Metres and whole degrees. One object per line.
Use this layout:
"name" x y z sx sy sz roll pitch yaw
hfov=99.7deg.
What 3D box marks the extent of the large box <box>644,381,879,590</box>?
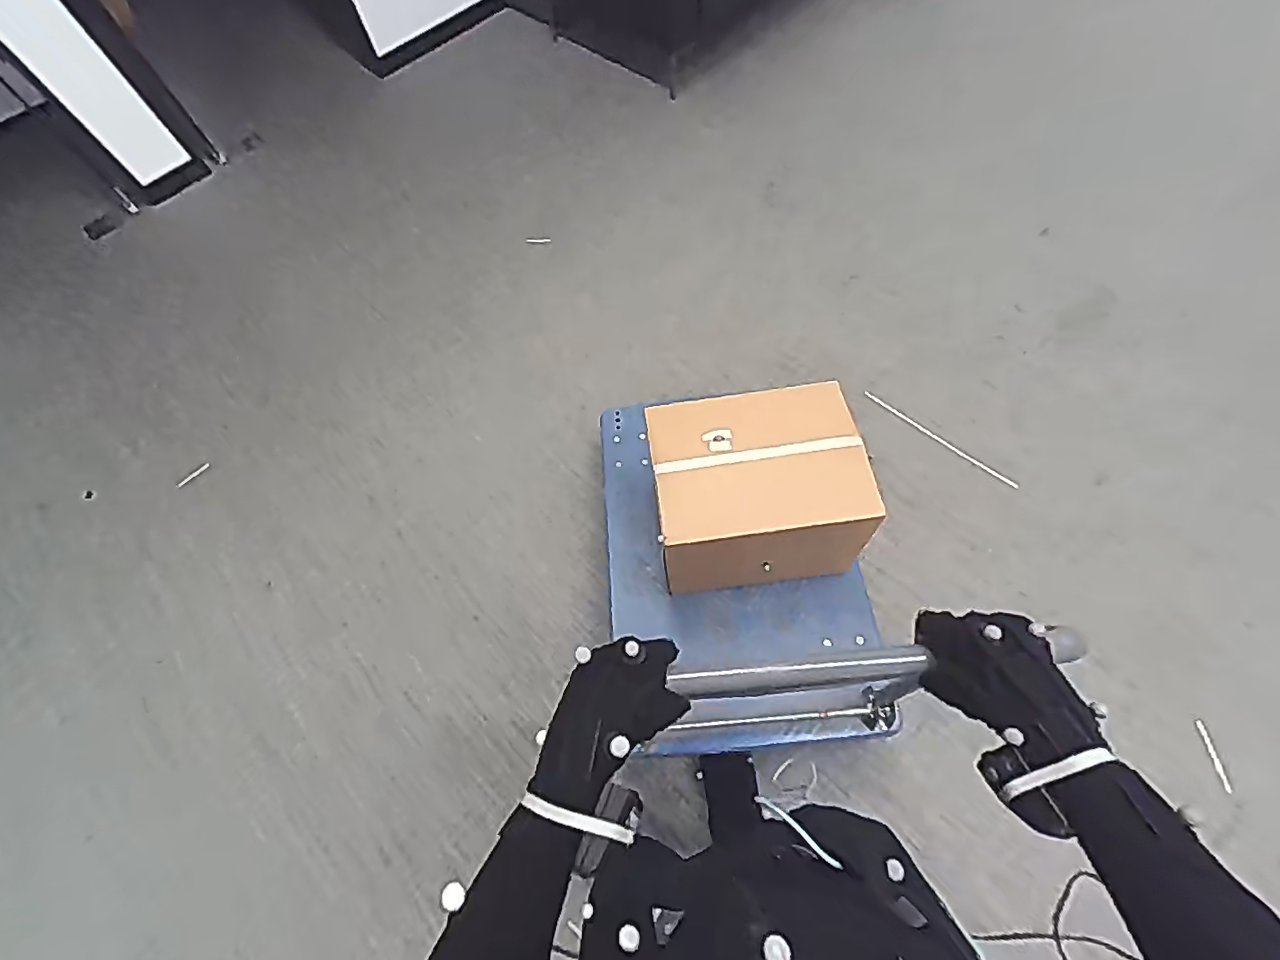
"large box" 0.241 0.027 1.190 0.408 0.320 0.320 -10 61 2
